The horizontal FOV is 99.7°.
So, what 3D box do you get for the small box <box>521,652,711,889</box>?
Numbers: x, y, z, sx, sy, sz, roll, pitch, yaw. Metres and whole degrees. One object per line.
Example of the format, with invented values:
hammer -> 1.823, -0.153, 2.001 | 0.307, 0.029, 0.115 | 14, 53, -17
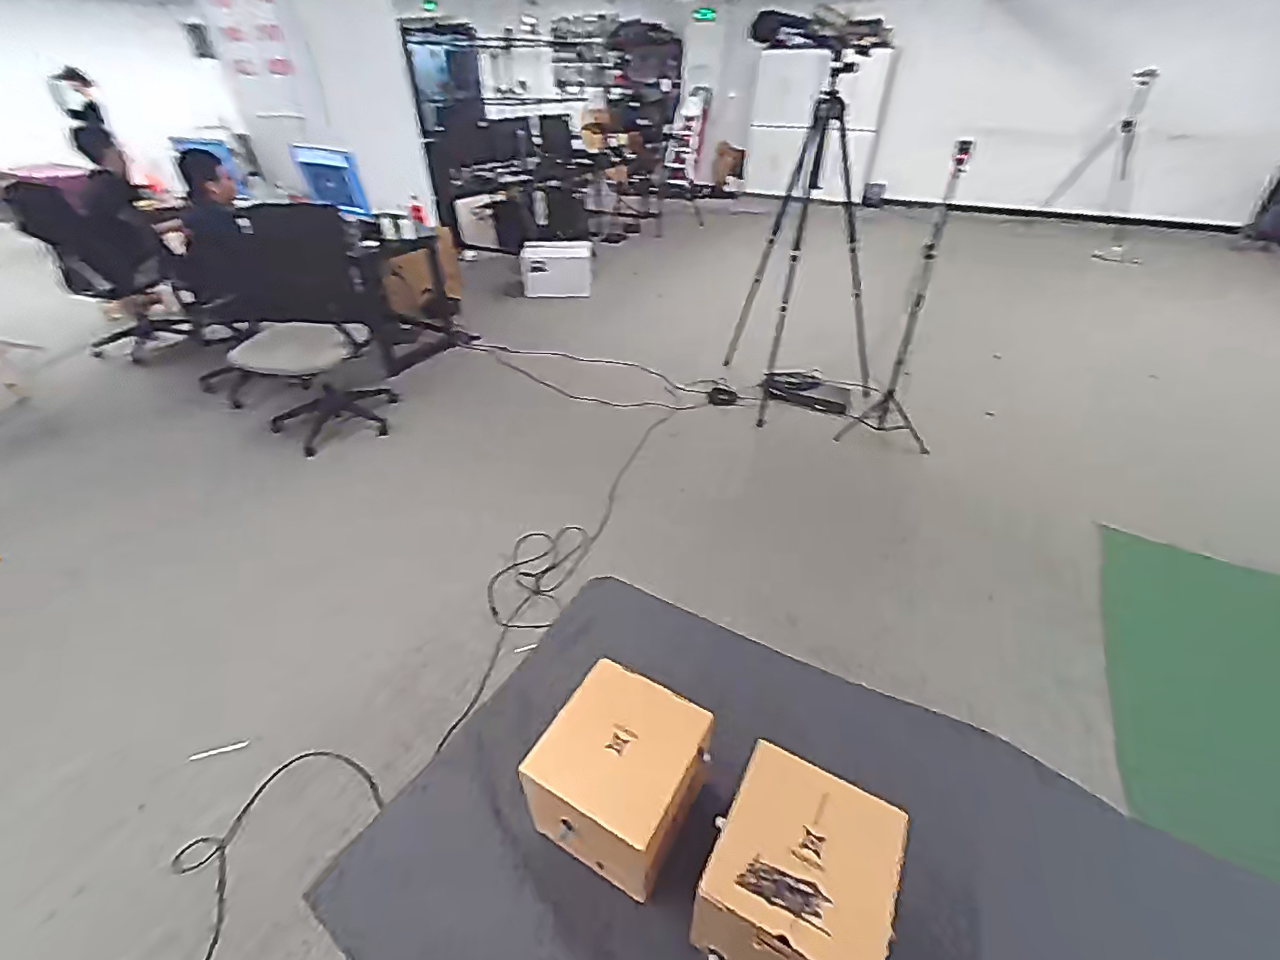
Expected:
small box -> -0.022, 0.364, 0.685 | 0.168, 0.176, 0.179 | 19, 41, 24
